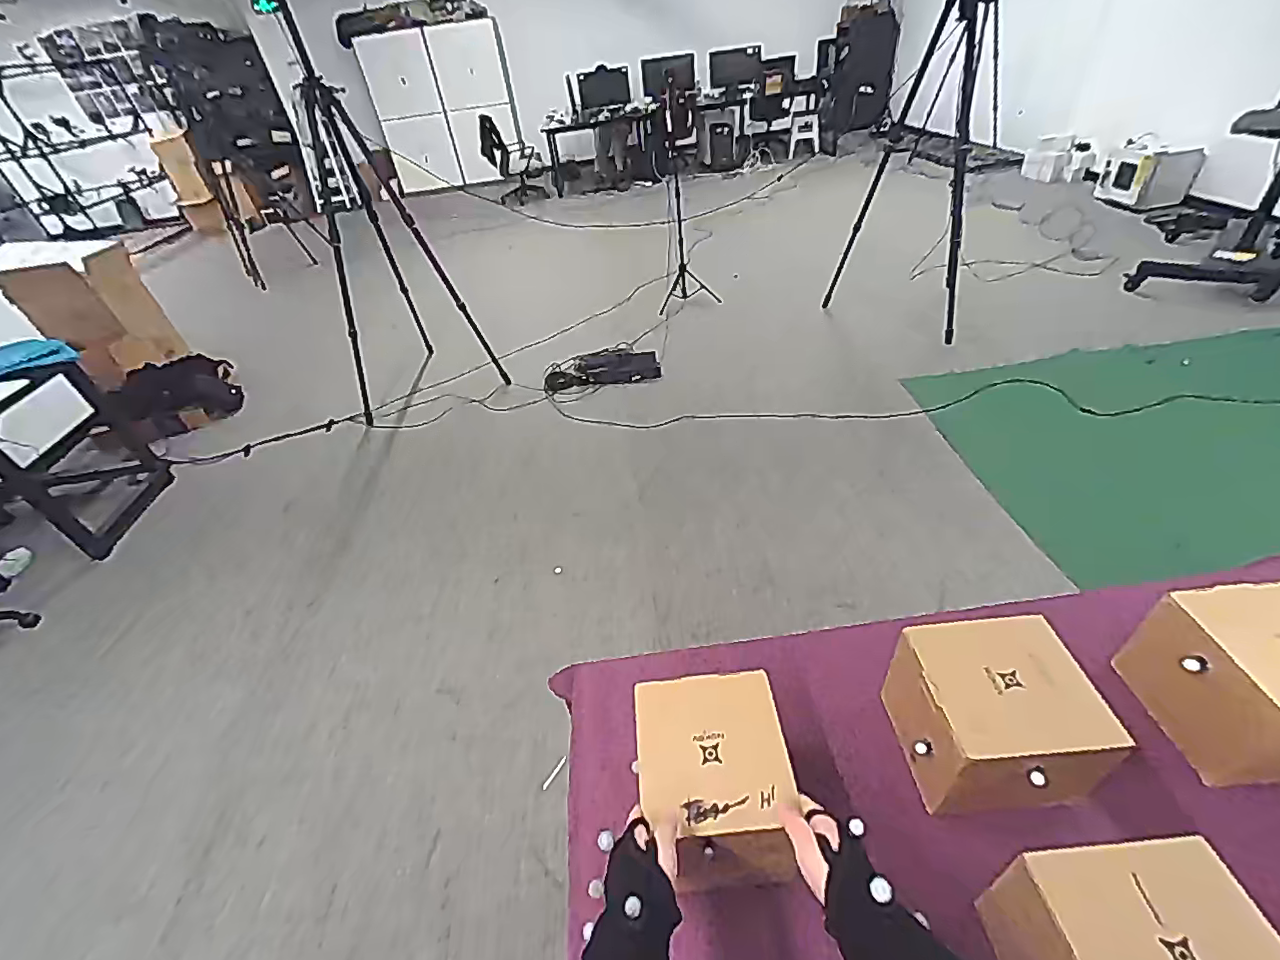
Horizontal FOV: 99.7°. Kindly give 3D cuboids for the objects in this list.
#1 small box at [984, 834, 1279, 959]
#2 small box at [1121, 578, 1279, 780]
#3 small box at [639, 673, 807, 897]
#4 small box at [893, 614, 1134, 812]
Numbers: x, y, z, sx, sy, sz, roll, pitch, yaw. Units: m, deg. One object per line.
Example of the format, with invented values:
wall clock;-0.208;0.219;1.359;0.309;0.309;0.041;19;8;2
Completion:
small box;0.445;0.446;0.476;0.168;0.176;0.179;-8;38;3
small box;0.756;0.244;0.657;0.168;0.176;0.179;-7;39;4
small box;0.090;0.362;0.648;0.168;0.176;0.179;-8;37;2
small box;0.432;0.290;0.670;0.179;0.176;0.168;-7;40;3
